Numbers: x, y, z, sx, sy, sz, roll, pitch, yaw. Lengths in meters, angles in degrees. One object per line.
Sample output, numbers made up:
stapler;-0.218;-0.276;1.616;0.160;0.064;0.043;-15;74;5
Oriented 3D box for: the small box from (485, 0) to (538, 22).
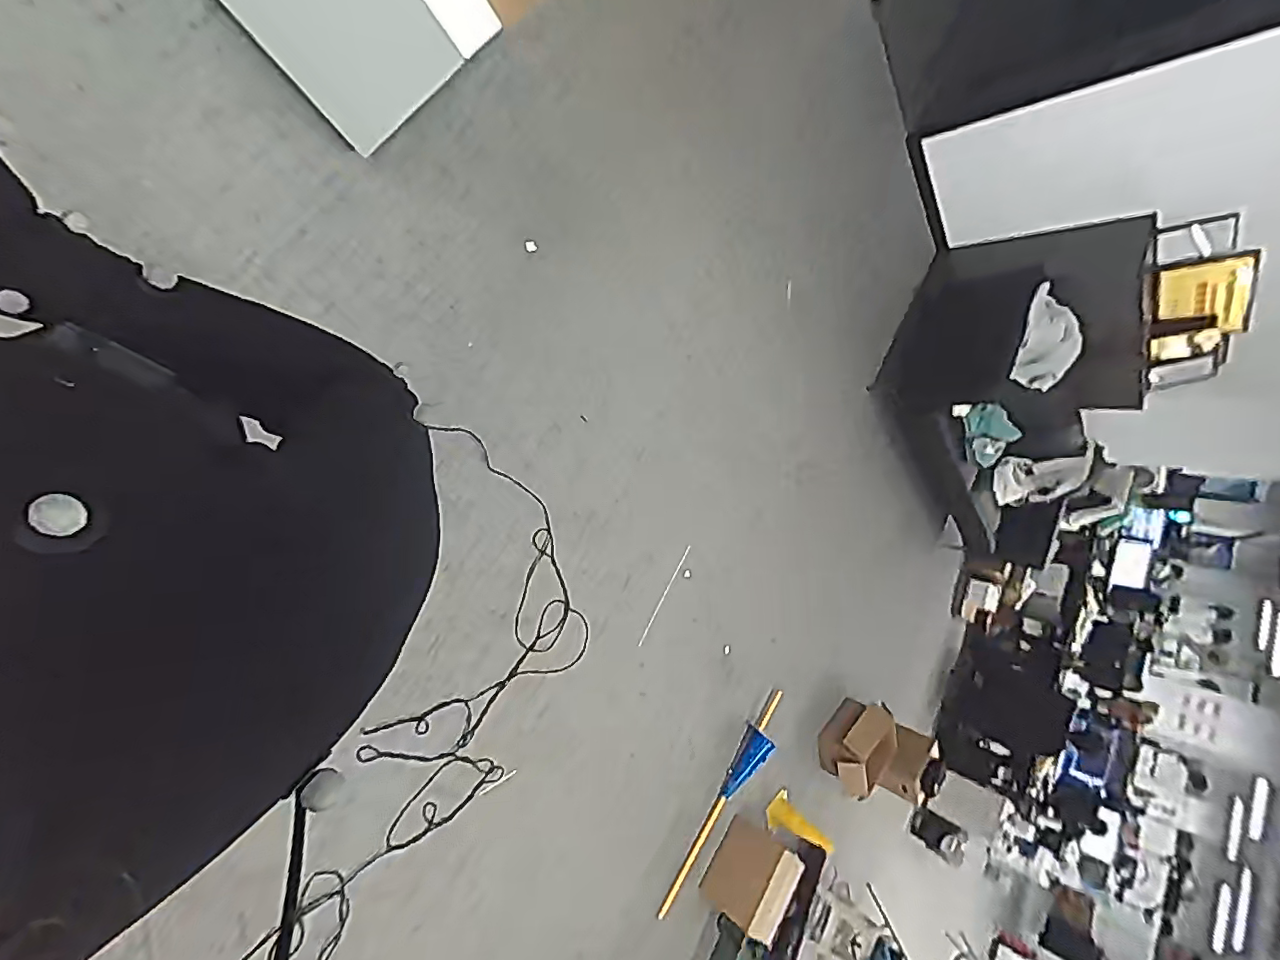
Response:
small box;-0.178;-0.878;0.843;0.168;0.176;0.179;48;66;-36
